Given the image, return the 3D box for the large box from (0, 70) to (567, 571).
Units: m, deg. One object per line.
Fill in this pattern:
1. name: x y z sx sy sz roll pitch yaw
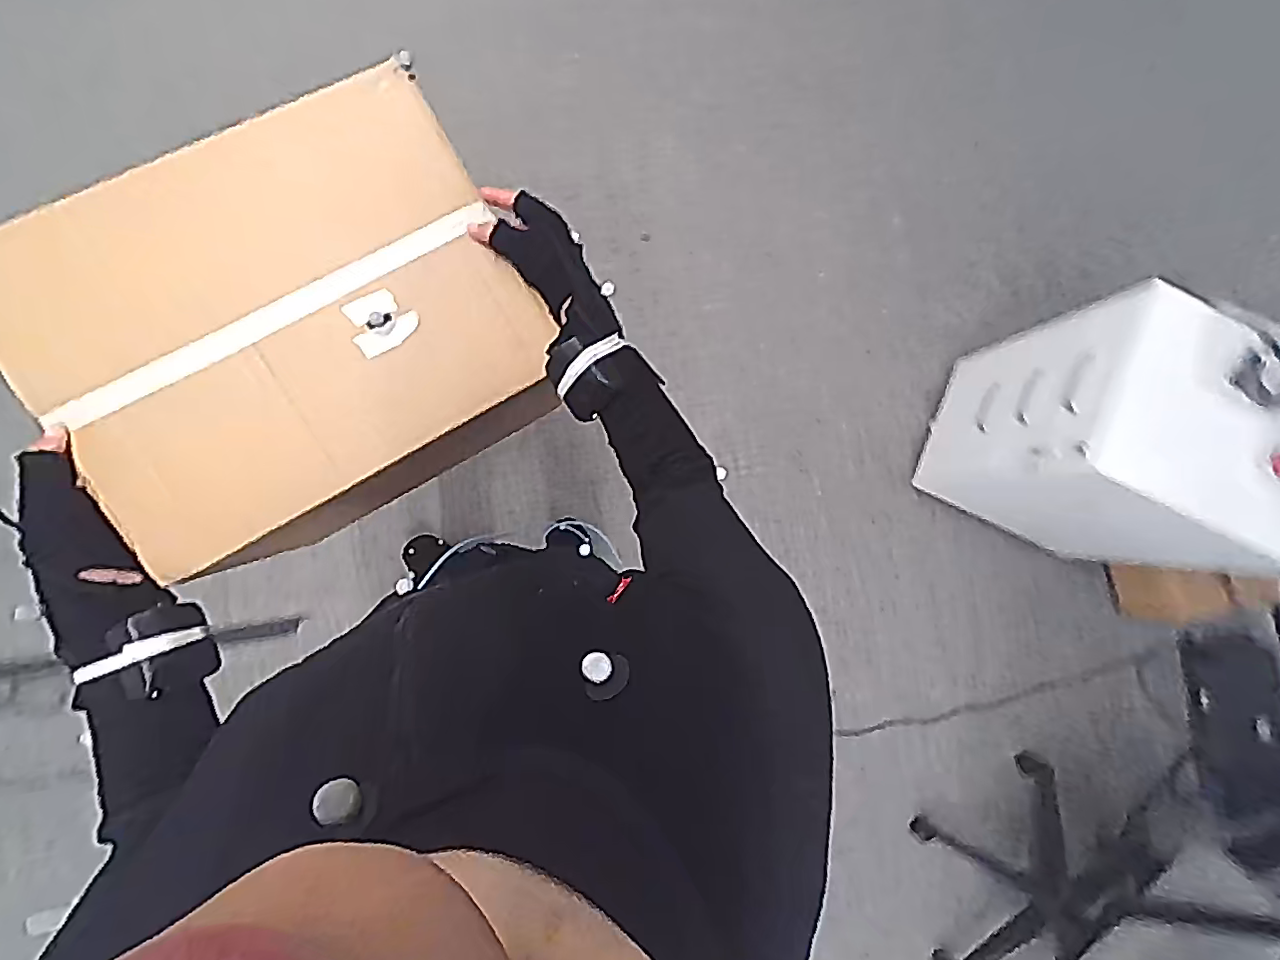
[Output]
1. large box: -0.341 -0.149 0.632 0.408 0.320 0.320 -32 97 -10
